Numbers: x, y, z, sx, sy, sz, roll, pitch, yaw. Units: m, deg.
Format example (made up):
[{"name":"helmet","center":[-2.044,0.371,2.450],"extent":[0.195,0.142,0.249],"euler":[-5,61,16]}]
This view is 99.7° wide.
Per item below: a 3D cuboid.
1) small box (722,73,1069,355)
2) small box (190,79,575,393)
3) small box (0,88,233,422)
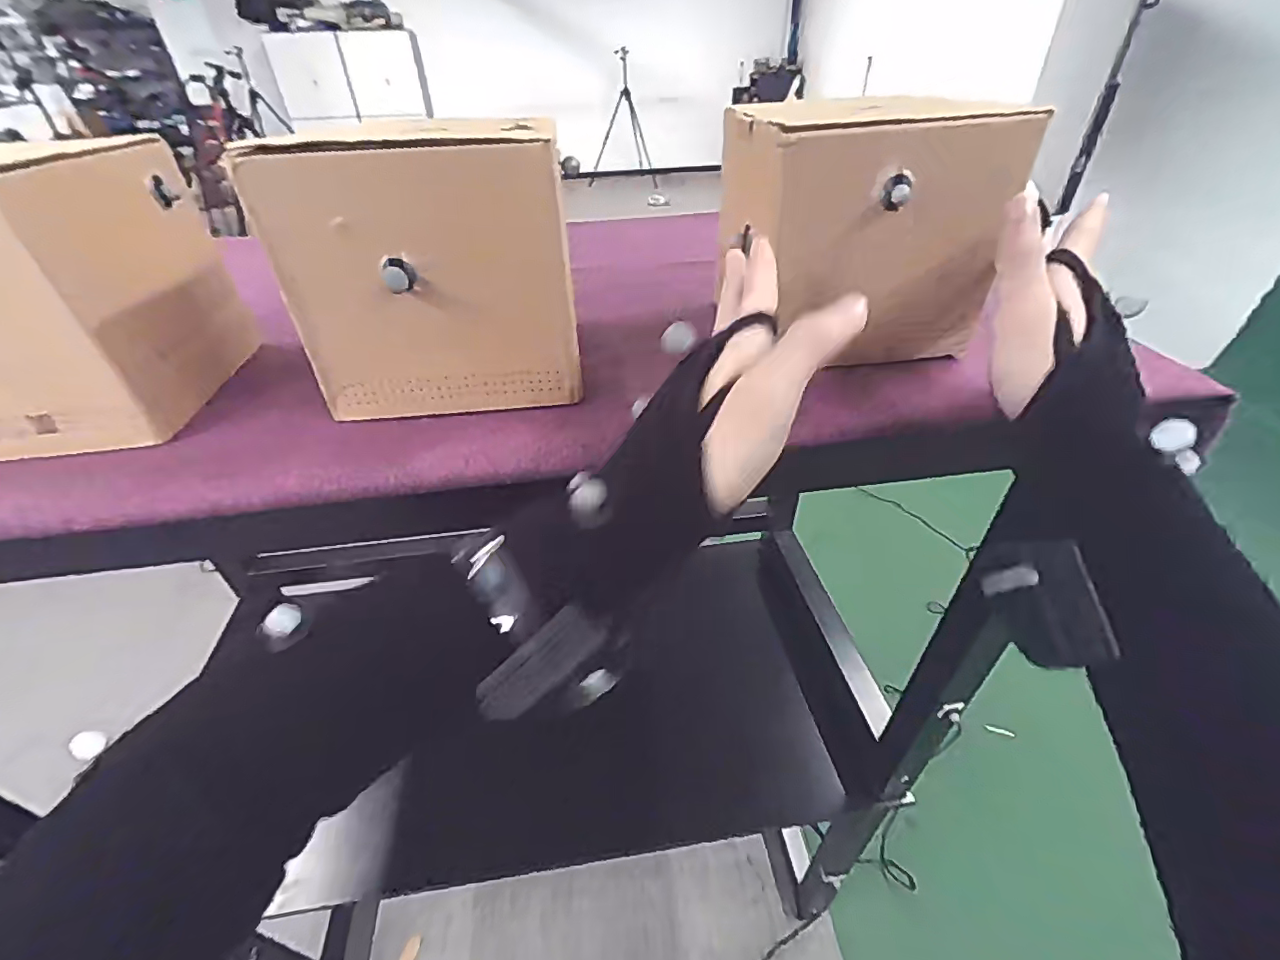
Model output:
[{"name":"small box","center":[0.161,-0.205,0.419],"extent":[0.179,0.176,0.168],"euler":[-3,39,-1]},{"name":"small box","center":[-0.143,-0.172,0.383],"extent":[0.179,0.176,0.168],"euler":[-5,40,-4]},{"name":"small box","center":[-0.420,-0.147,0.357],"extent":[0.168,0.176,0.179],"euler":[-6,38,-6]}]
